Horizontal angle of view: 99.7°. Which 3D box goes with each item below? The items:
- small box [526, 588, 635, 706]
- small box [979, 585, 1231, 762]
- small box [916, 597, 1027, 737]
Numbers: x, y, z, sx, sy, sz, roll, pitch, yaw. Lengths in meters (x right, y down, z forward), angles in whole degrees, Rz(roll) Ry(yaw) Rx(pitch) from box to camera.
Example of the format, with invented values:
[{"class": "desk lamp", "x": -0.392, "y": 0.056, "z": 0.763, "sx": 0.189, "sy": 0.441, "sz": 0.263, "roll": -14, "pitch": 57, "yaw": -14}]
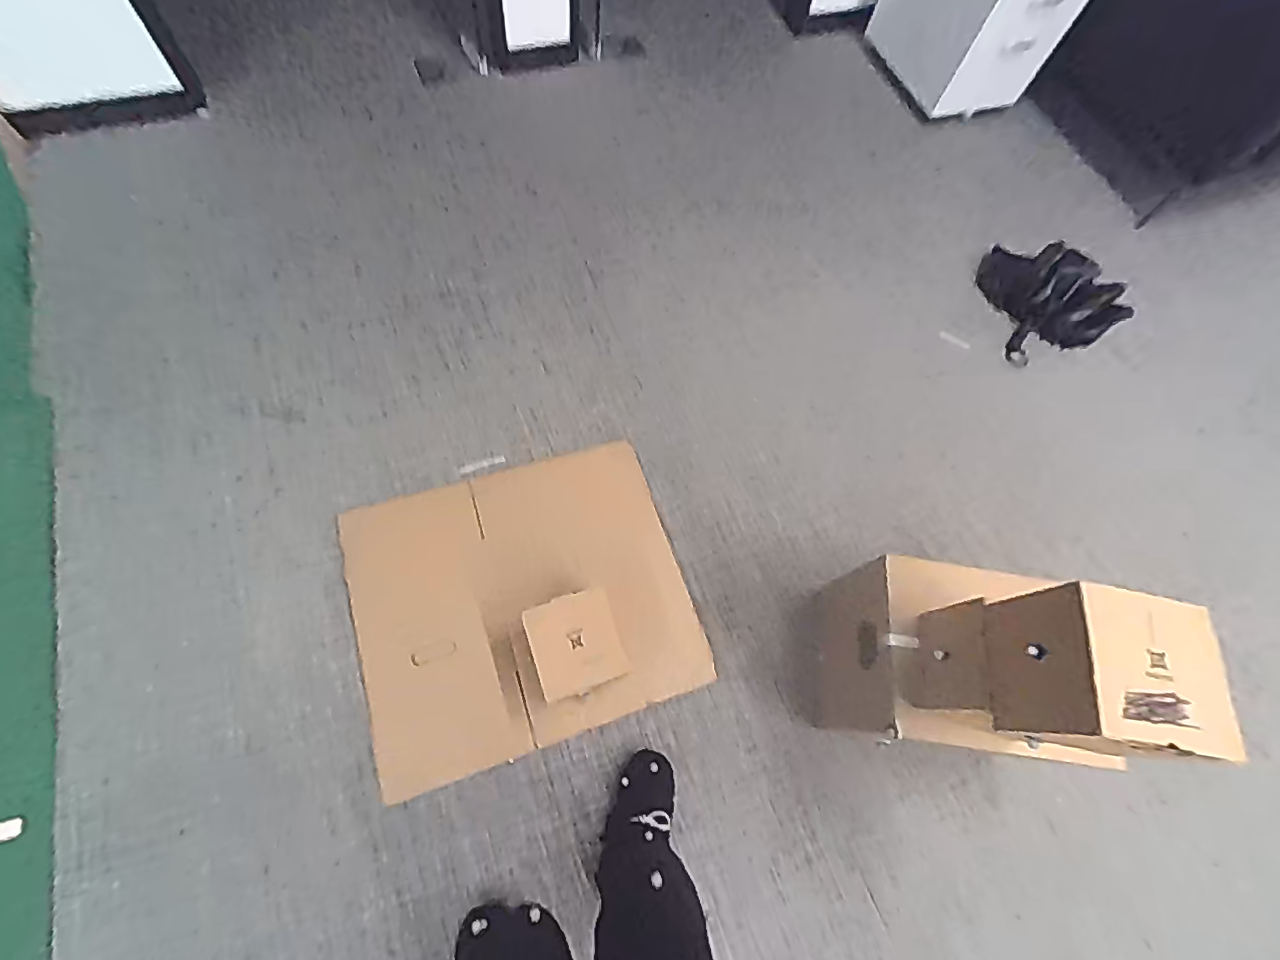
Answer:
[{"class": "small box", "x": -0.120, "y": 0.340, "z": 1.084, "sx": 0.168, "sy": 0.176, "sz": 0.179, "roll": -19, "pitch": 70, "yaw": -12}, {"class": "small box", "x": 0.575, "y": 0.248, "z": 0.698, "sx": 0.168, "sy": 0.176, "sz": 0.179, "roll": 9, "pitch": 67, "yaw": -2}, {"class": "small box", "x": 0.562, "y": 0.302, "z": 0.856, "sx": 0.179, "sy": 0.176, "sz": 0.168, "roll": 14, "pitch": 64, "yaw": -1}]
